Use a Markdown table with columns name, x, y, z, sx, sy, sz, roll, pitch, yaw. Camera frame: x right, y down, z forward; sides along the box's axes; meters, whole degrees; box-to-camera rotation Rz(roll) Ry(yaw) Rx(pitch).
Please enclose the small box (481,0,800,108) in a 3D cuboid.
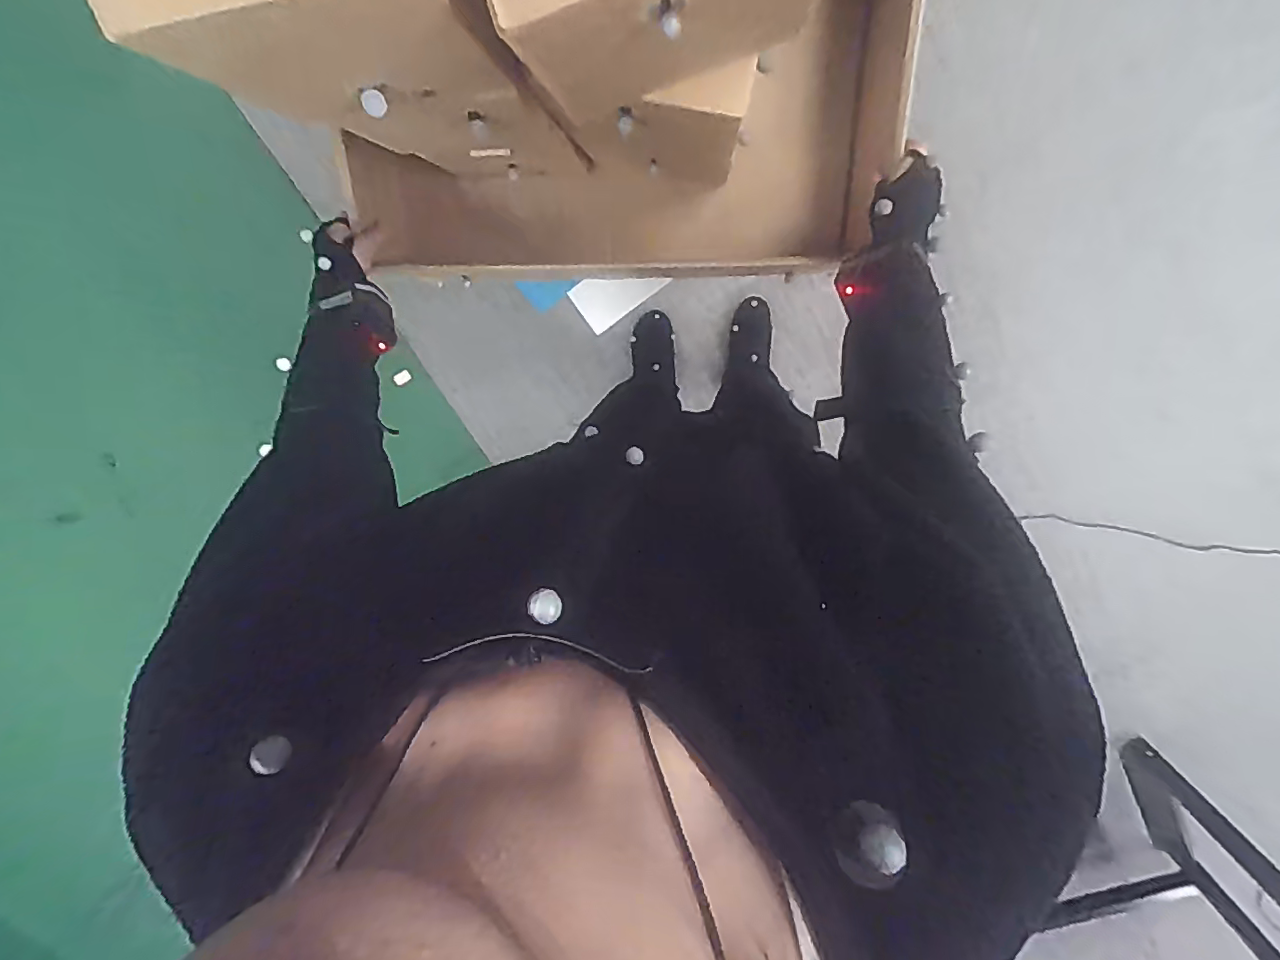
| name | x | y | z | sx | sy | sz | roll | pitch | yaw |
| --- | --- | --- | --- | --- | --- | --- | --- | --- | --- |
| small box | -0.001 | -0.340 | 0.296 | 0.179 | 0.176 | 0.168 | -12 | 108 | 11 |
